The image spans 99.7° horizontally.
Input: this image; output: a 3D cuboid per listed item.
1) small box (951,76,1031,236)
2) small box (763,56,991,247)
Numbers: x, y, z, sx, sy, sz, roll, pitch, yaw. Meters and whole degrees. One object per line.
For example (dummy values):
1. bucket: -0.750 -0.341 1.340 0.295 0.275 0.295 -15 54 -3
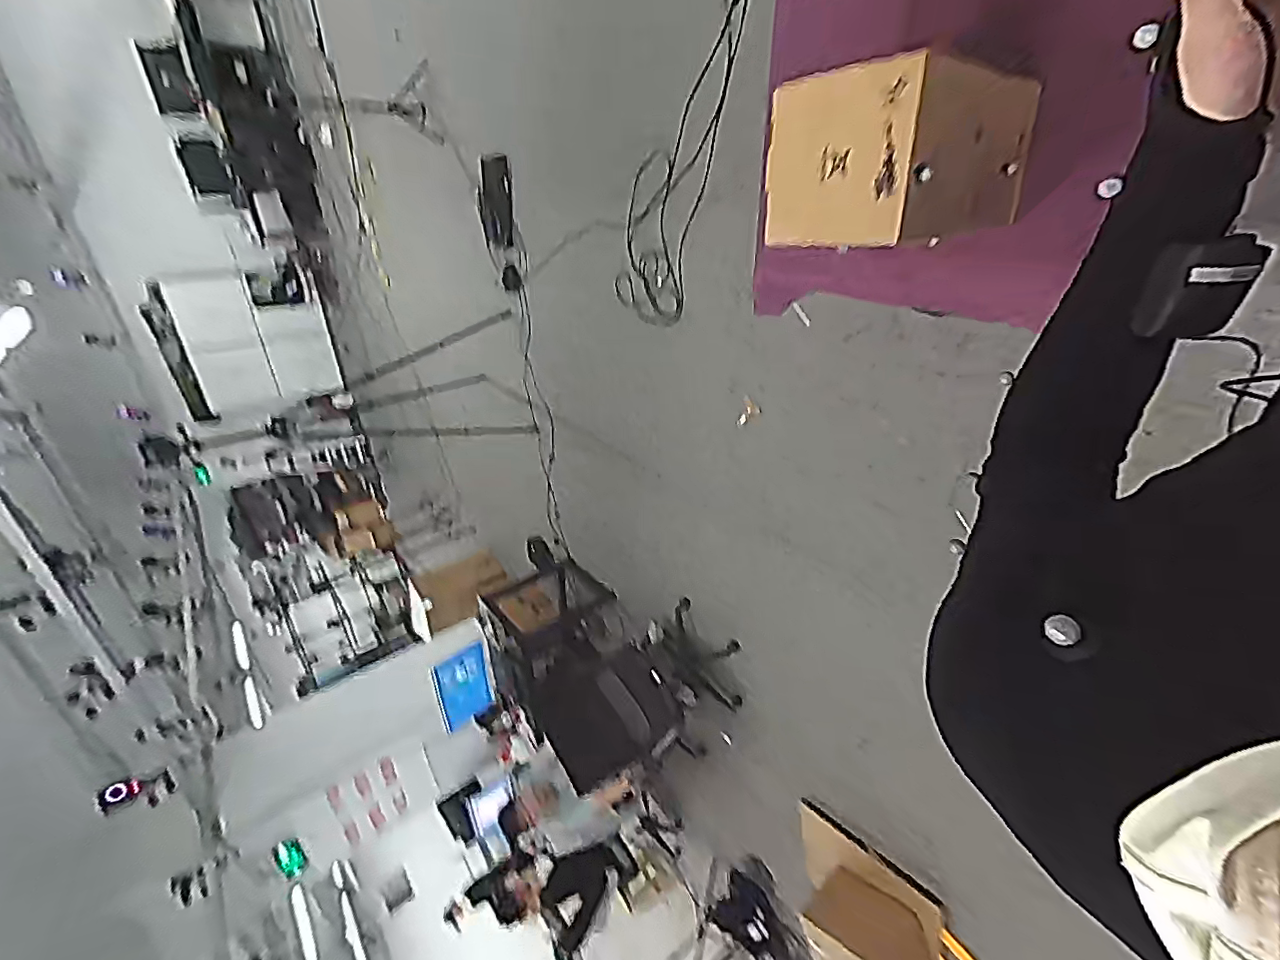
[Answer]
1. small box: 0.388 -0.421 0.736 0.179 0.176 0.168 24 126 46
2. small box: 0.270 -0.367 0.636 0.179 0.176 0.168 25 127 45
